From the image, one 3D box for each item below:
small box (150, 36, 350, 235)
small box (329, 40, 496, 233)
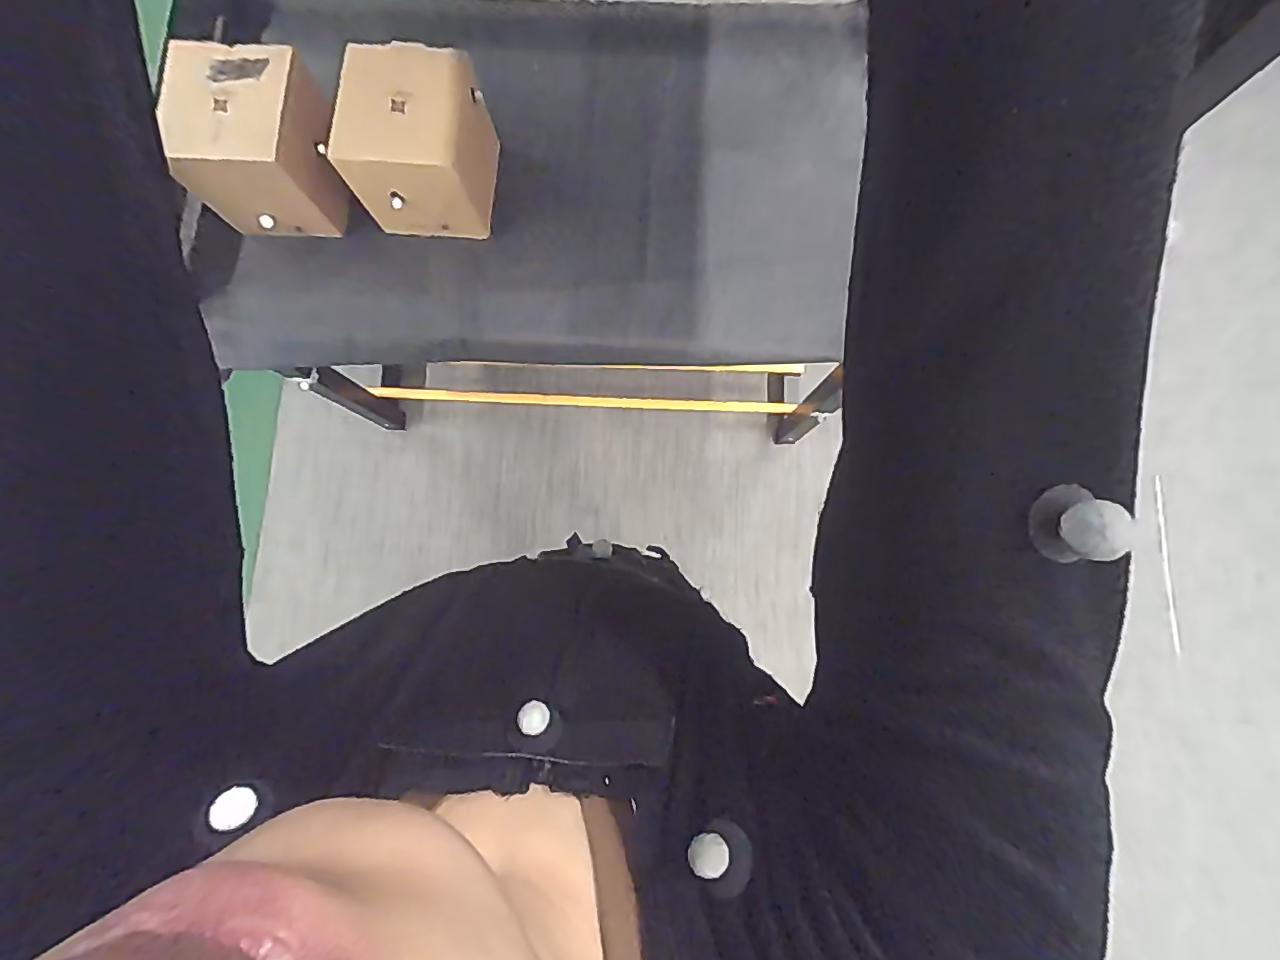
[{"bbox_3d":[-0.545,-0.490,0.787,0.168,0.176,0.179,2,82,0],"label":"small box"},{"bbox_3d":[-0.318,-0.488,0.790,0.168,0.176,0.179,3,81,0],"label":"small box"}]
